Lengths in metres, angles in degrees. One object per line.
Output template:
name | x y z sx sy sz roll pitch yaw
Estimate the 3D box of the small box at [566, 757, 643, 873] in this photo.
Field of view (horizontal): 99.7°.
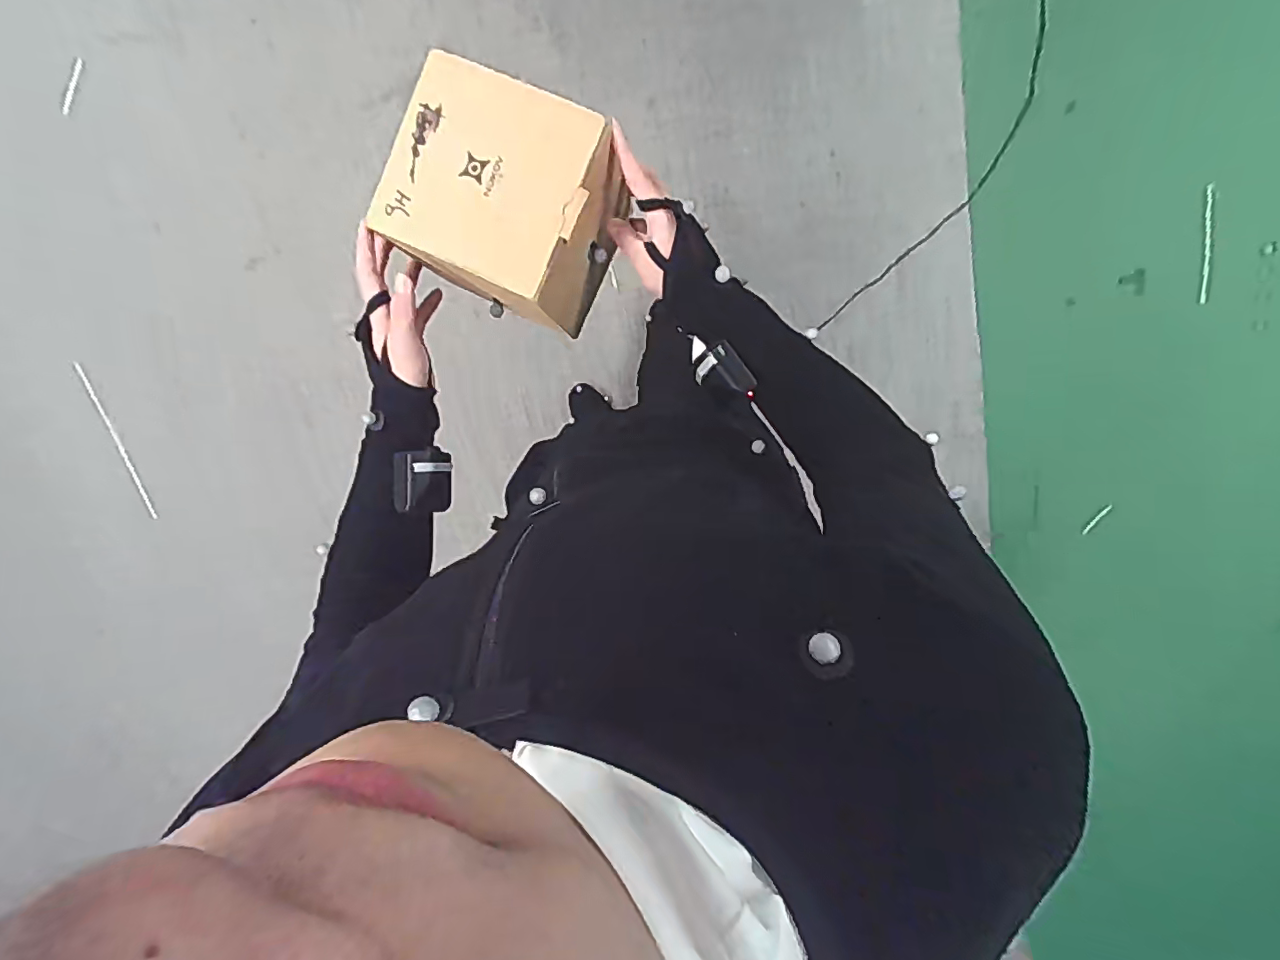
small box | -0.084 0.795 1.295 0.168 0.176 0.179 5 104 -2
